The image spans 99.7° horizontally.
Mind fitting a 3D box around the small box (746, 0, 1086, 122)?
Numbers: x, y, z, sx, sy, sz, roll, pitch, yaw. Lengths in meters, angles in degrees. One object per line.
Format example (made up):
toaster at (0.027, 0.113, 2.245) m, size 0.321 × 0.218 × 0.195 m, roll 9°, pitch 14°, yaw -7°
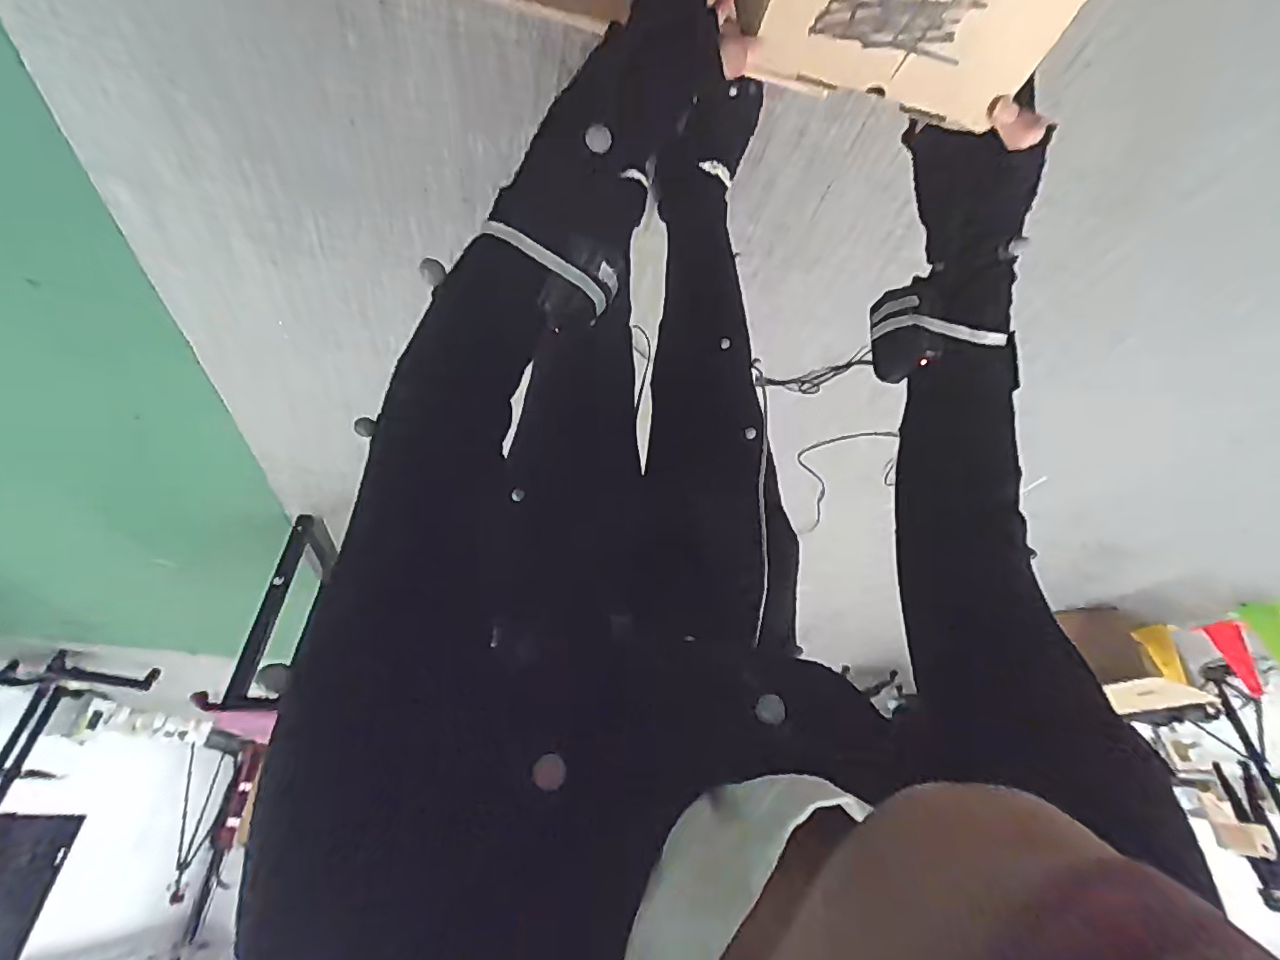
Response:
small box at (0.161, -0.344, 0.288) m, size 0.168 × 0.176 × 0.179 m, roll 6°, pitch 150°, yaw -12°
